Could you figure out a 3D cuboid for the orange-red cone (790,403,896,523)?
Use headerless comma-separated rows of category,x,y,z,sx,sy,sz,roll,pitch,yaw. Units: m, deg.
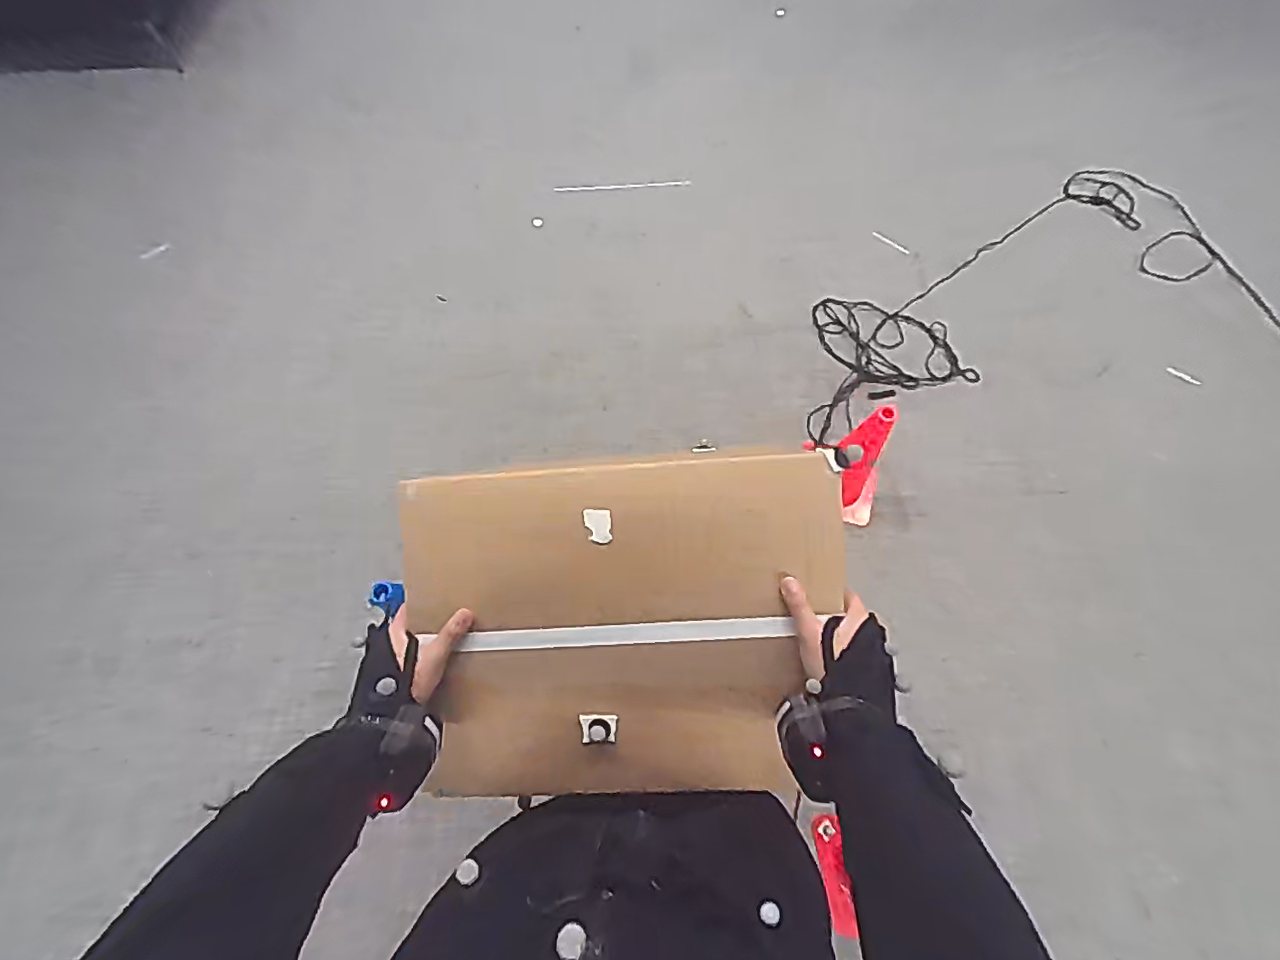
orange-red cone,0.495,-0.069,1.227,0.199,0.360,0.198,17,68,8

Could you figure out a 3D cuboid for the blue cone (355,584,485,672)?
blue cone,-0.468,0.278,1.120,0.192,0.380,0.193,-2,65,2

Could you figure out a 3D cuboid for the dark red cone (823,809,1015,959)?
dark red cone,0.454,0.680,0.859,0.202,0.394,0.201,-9,68,-2
